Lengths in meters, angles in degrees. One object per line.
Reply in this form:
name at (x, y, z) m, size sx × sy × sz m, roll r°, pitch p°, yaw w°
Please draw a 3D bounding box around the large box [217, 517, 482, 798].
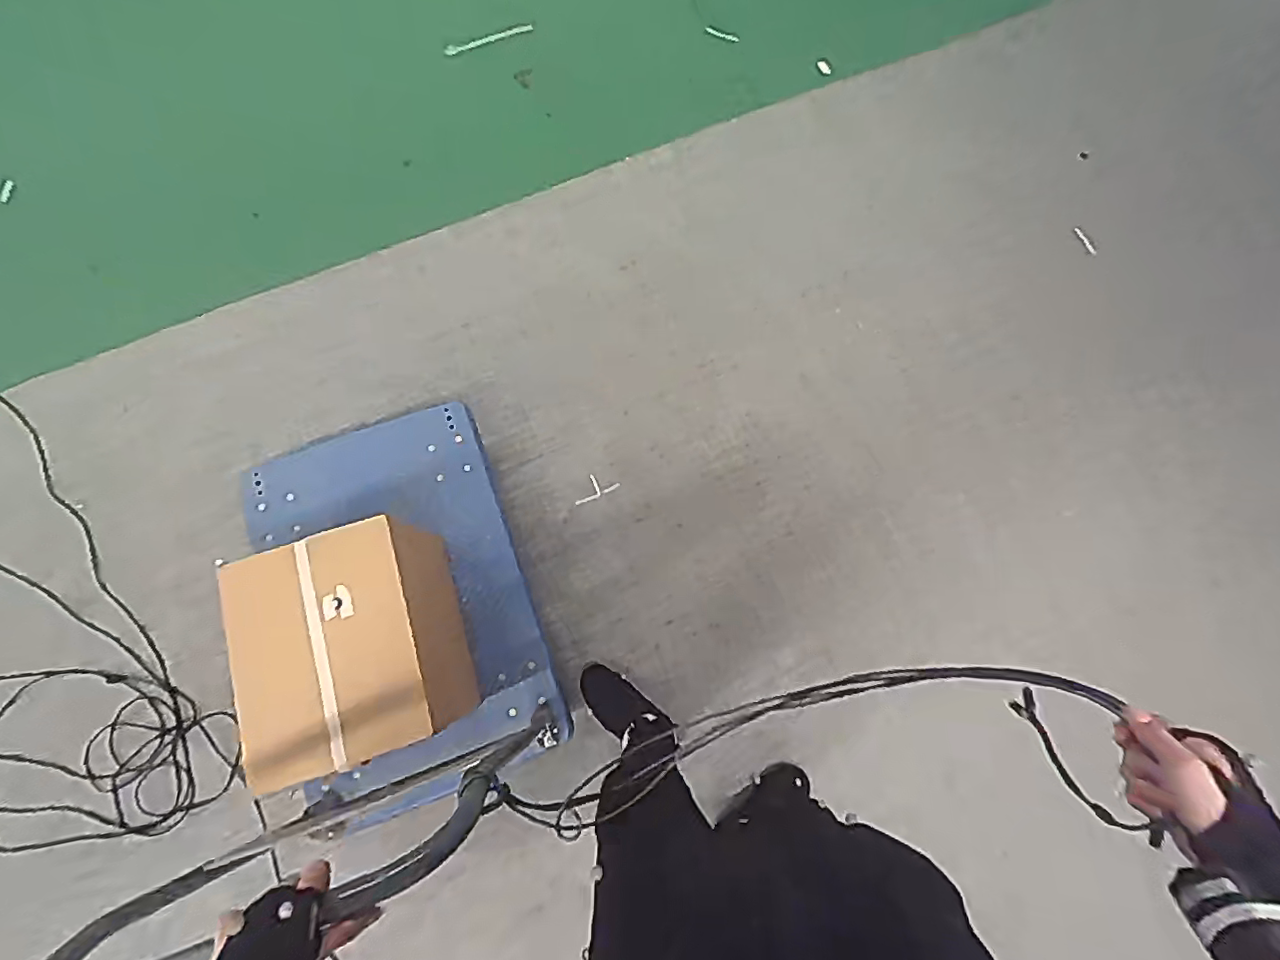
large box at (-0.550, 0.330, 1.079) m, size 0.320 × 0.320 × 0.408 m, roll -18°, pitch 77°, yaw -5°
